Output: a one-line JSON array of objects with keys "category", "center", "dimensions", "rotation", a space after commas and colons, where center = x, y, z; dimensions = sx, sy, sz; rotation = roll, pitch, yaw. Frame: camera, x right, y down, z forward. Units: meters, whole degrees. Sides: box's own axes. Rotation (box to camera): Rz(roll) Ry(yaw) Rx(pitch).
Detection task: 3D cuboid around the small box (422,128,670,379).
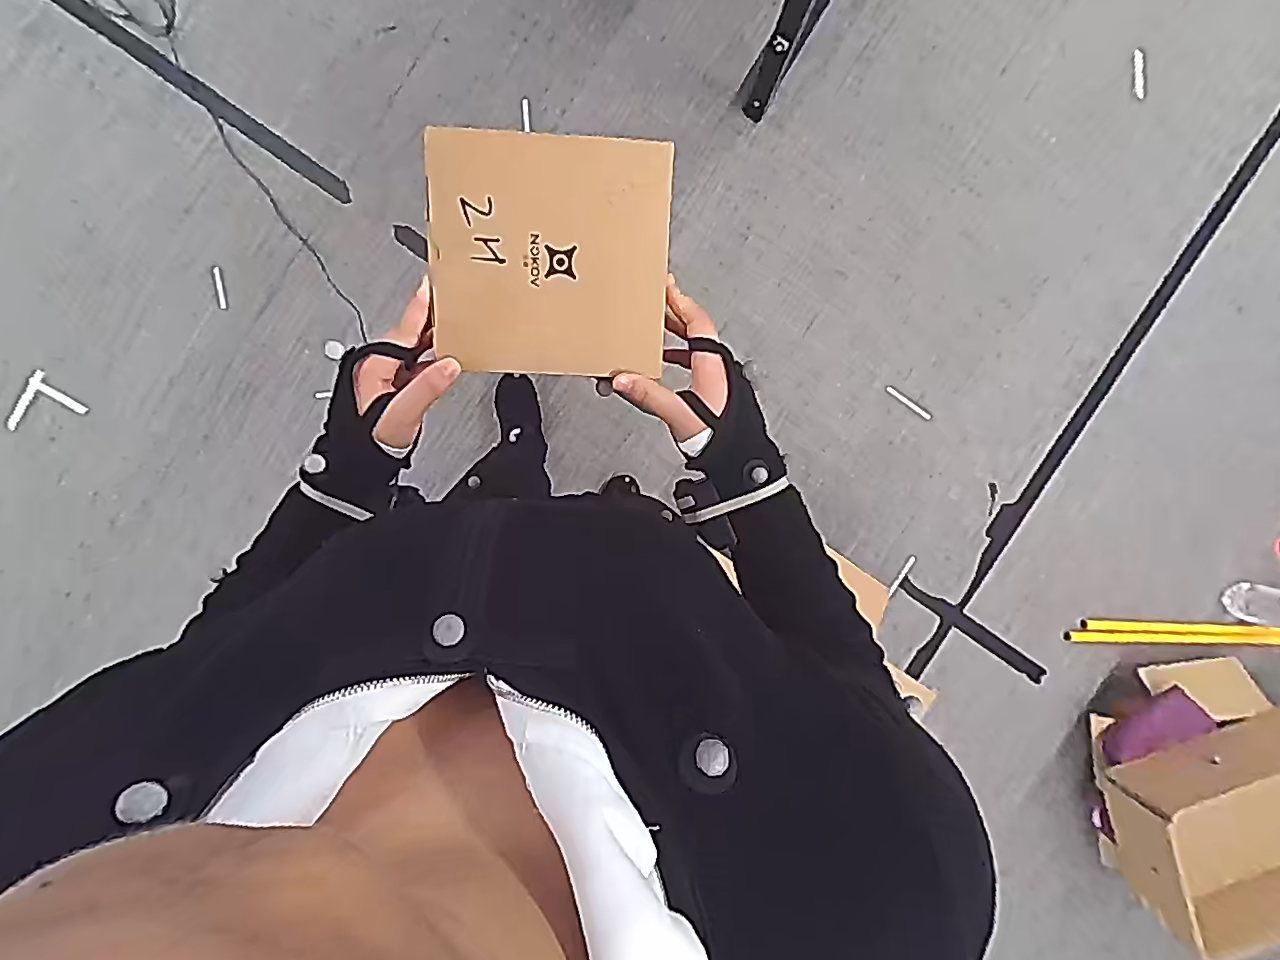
[{"category": "small box", "center": [-0.073, -0.180, 0.474], "dimensions": [0.179, 0.176, 0.168], "rotation": [2, 103, -3]}]
